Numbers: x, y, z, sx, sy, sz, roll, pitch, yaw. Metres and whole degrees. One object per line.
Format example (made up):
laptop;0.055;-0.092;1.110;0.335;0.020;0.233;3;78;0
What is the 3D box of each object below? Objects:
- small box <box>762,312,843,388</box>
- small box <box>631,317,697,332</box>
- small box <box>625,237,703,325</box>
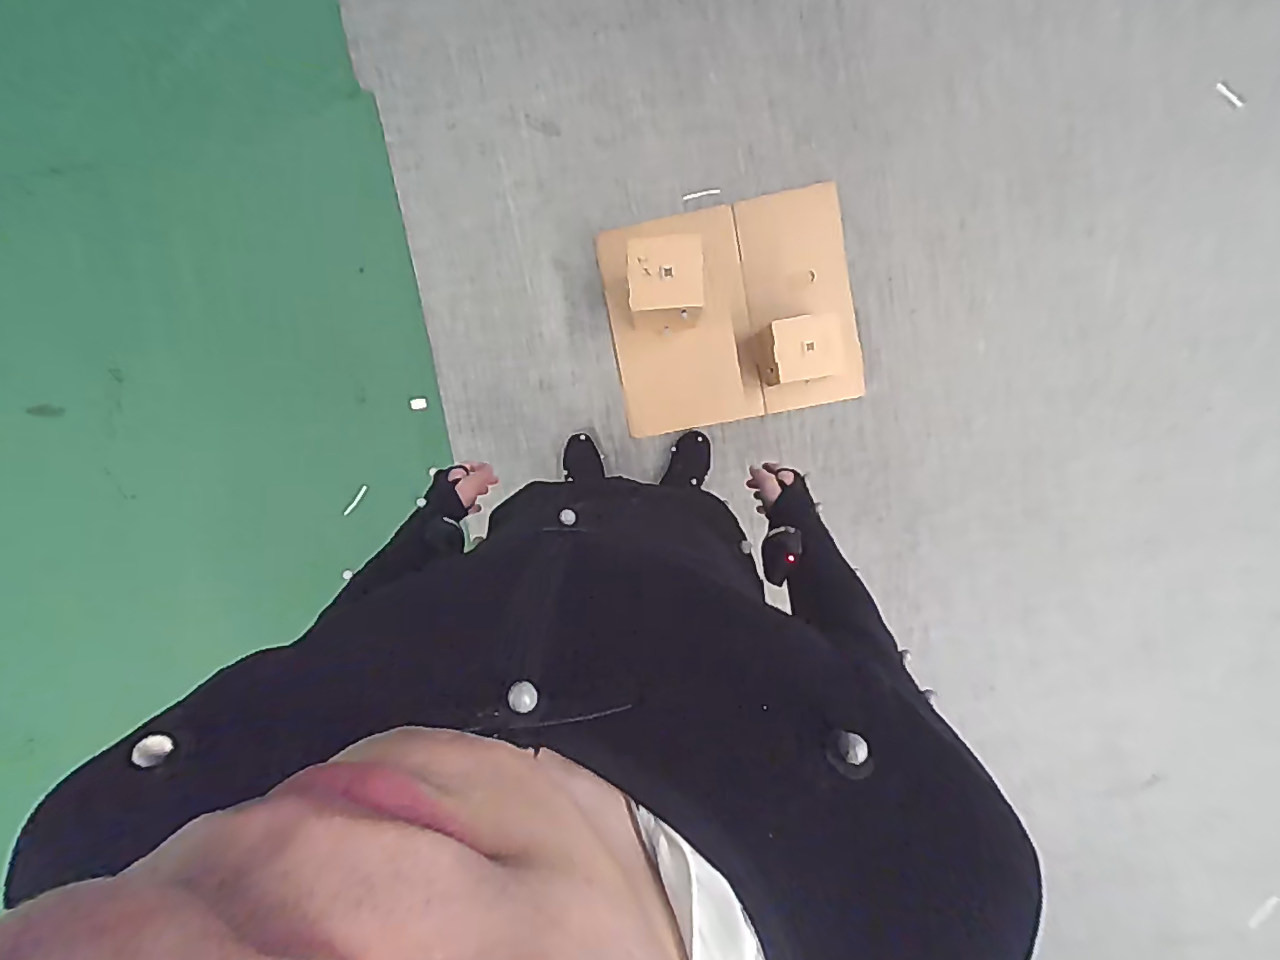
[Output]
small box;0.437;-0.350;1.485;0.179;0.176;0.168;-9;96;5
small box;0.063;-0.505;1.487;0.179;0.176;0.168;-2;96;3
small box;0.058;-0.480;1.322;0.179;0.176;0.168;-2;96;4
